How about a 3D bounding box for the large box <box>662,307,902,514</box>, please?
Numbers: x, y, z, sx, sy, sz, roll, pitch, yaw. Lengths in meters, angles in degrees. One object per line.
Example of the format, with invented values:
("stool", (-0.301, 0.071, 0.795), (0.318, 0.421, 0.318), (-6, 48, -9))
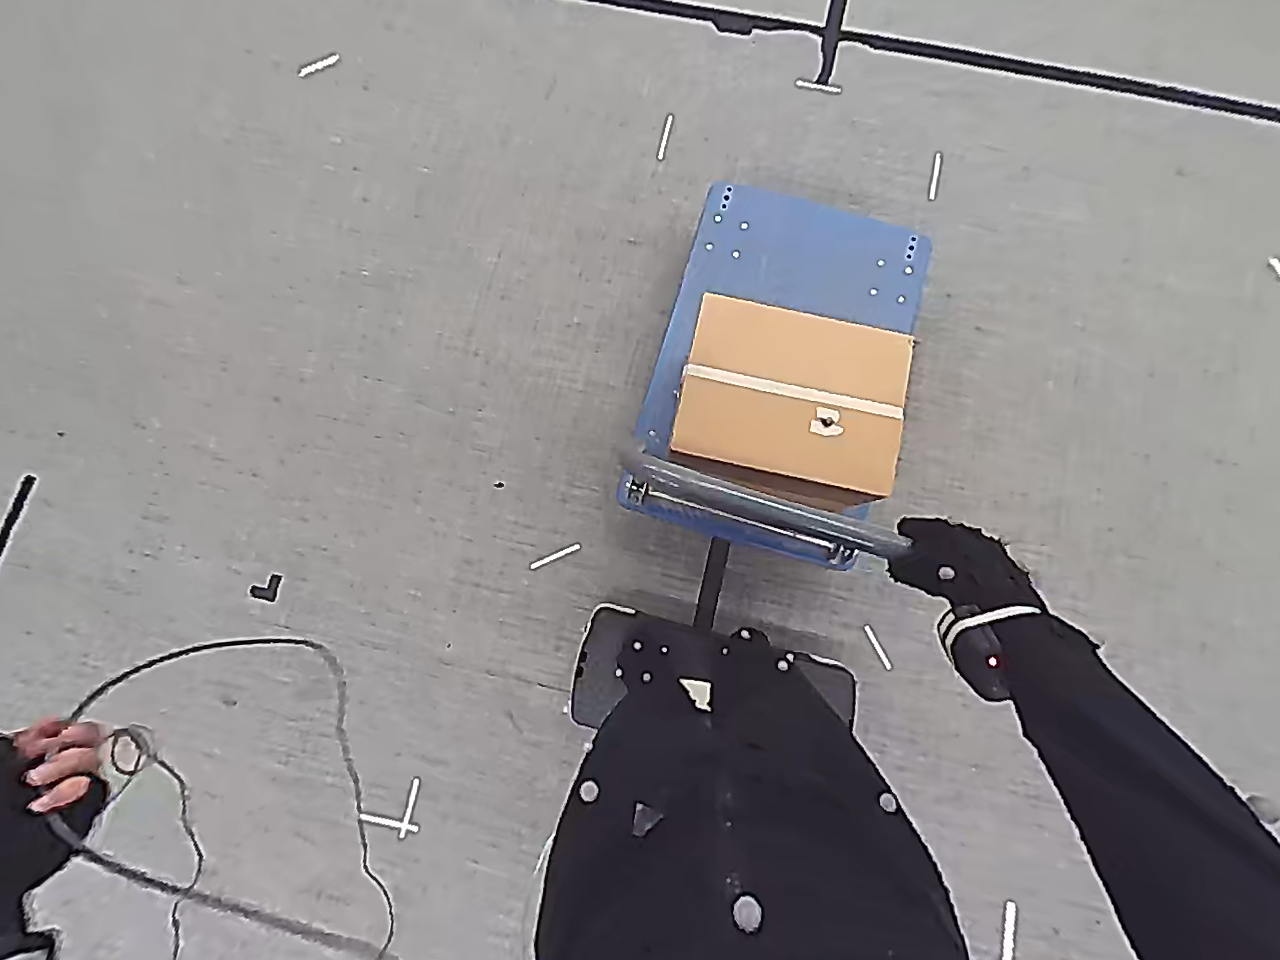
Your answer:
("large box", (0.275, -0.126, 1.159), (0.408, 0.320, 0.320), (12, 82, 1))
